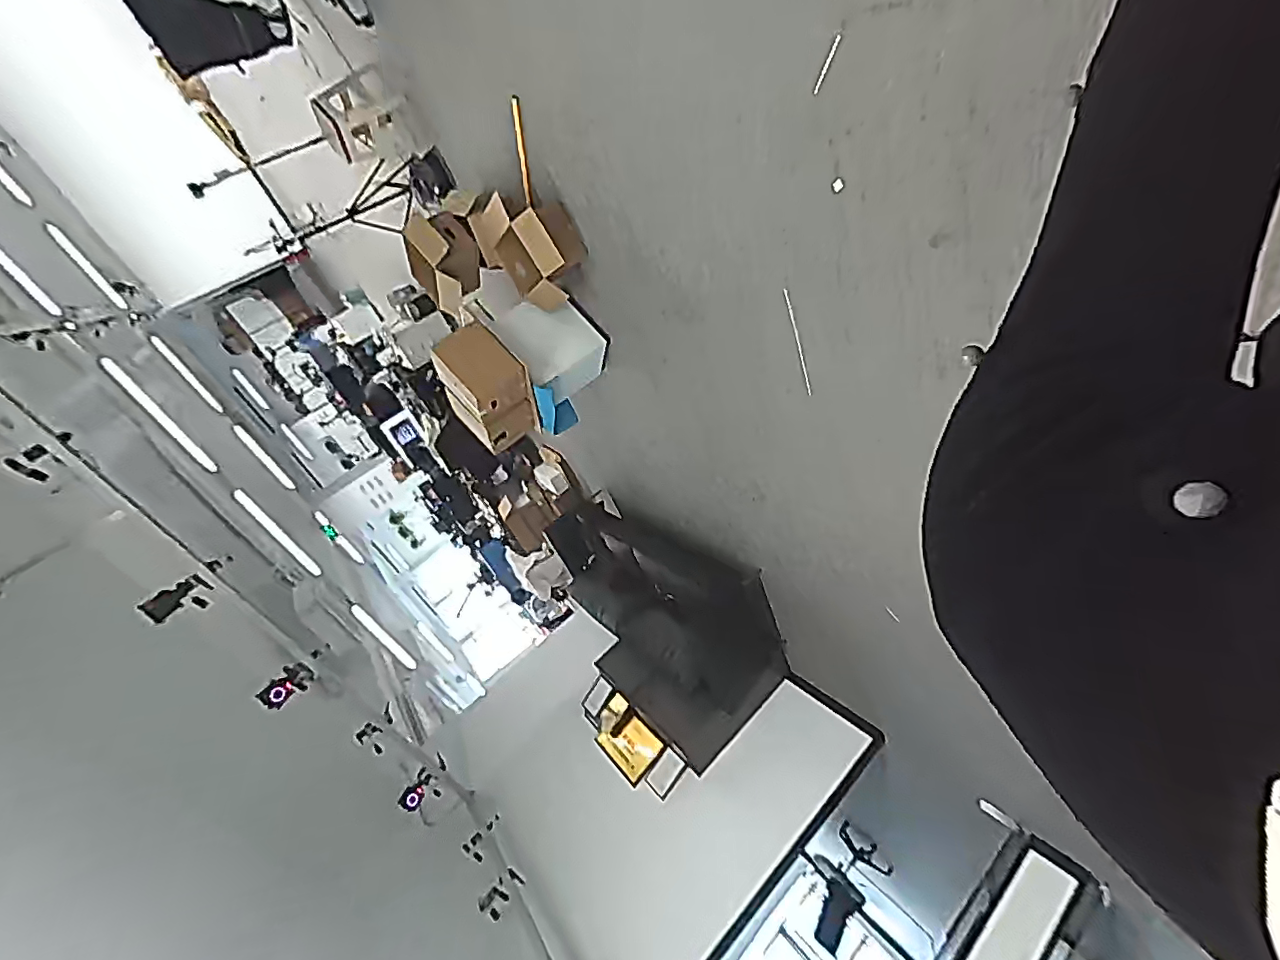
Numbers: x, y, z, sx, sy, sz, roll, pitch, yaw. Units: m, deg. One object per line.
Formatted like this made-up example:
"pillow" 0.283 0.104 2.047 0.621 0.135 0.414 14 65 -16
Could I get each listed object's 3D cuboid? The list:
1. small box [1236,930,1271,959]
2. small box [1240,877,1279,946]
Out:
"small box" 1.589 1.268 1.326 0.168 0.176 0.179 27 147 48
"small box" 1.708 1.176 1.386 0.168 0.176 0.179 26 147 47
